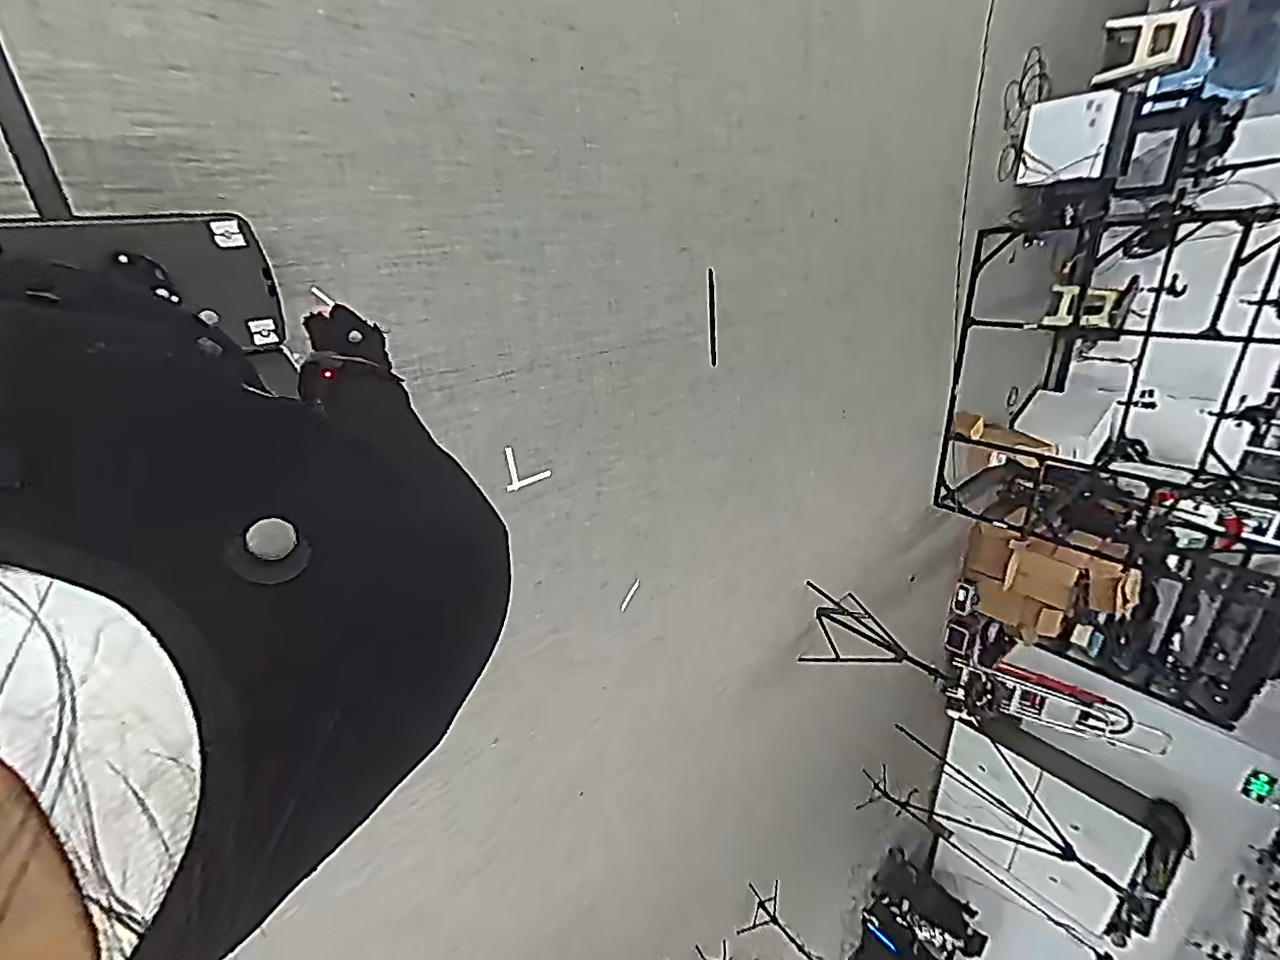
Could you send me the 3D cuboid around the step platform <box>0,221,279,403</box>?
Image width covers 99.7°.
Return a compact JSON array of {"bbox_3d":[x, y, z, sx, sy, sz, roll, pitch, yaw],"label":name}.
[{"bbox_3d":[-1.116,-0.329,1.047,0.684,0.204,0.286,-23,121,-34],"label":"step platform"}]
